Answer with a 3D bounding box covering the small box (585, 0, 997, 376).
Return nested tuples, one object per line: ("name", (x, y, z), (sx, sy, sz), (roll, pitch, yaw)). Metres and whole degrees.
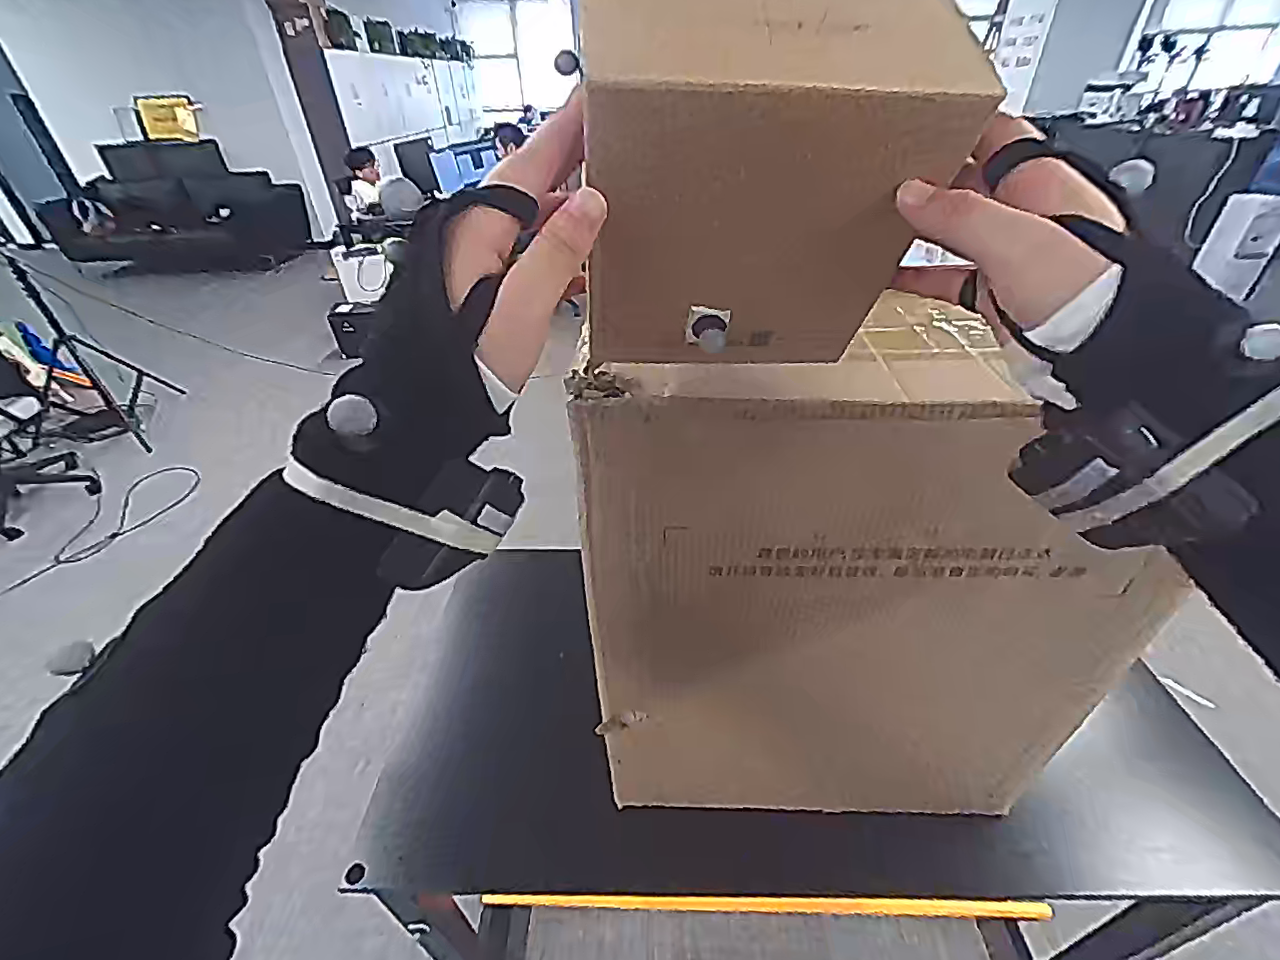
("small box", (0.052, -0.182, 0.319), (0.168, 0.176, 0.179), (-3, 63, -5))
